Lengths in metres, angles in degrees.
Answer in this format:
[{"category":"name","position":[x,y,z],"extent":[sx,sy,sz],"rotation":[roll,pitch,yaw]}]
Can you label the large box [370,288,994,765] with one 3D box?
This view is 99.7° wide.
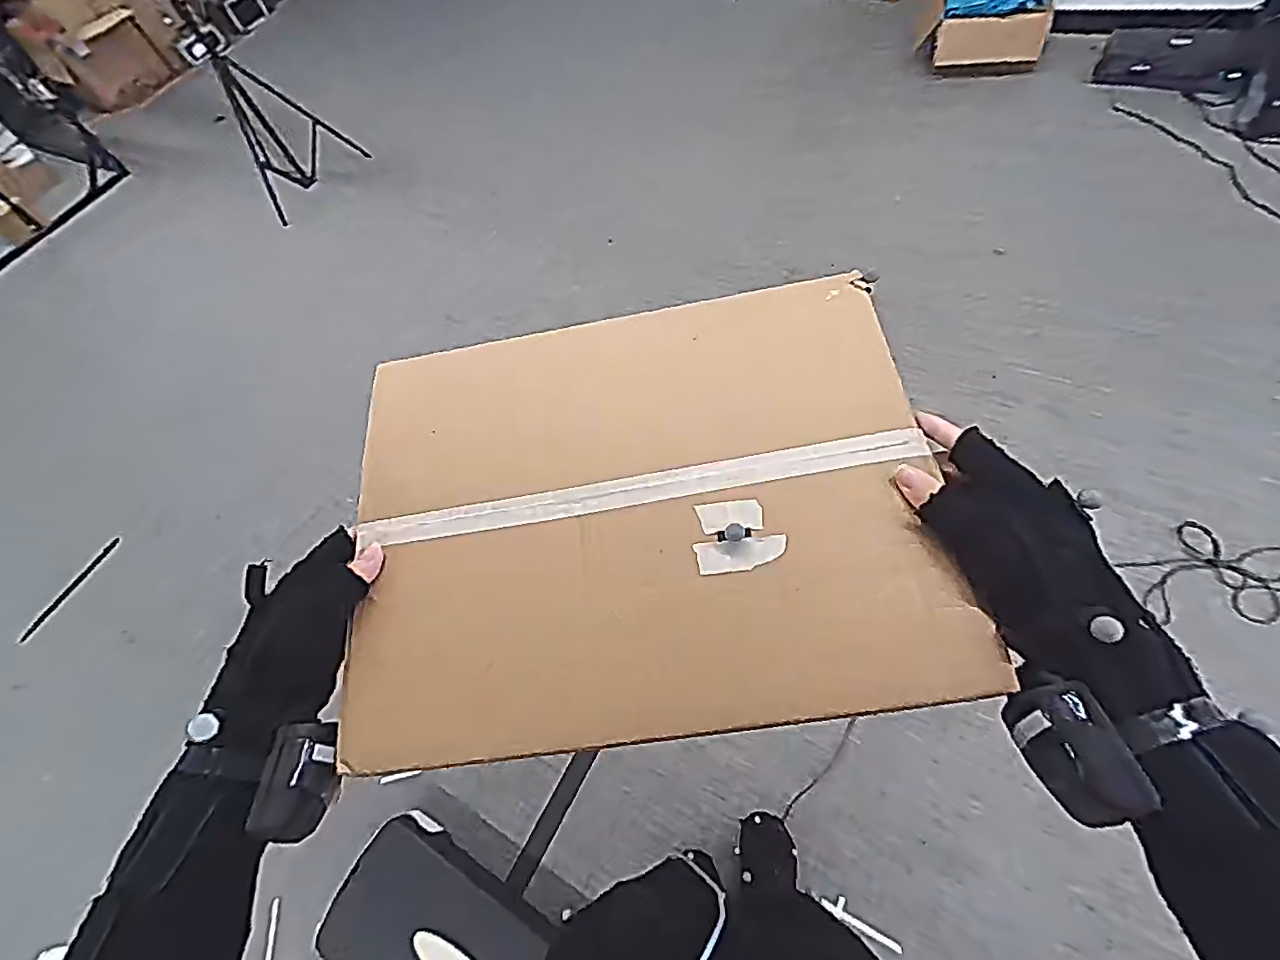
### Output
[{"category":"large box","position":[0.019,0.072,0.532],"extent":[0.408,0.320,0.320],"rotation":[-10,66,4]}]
